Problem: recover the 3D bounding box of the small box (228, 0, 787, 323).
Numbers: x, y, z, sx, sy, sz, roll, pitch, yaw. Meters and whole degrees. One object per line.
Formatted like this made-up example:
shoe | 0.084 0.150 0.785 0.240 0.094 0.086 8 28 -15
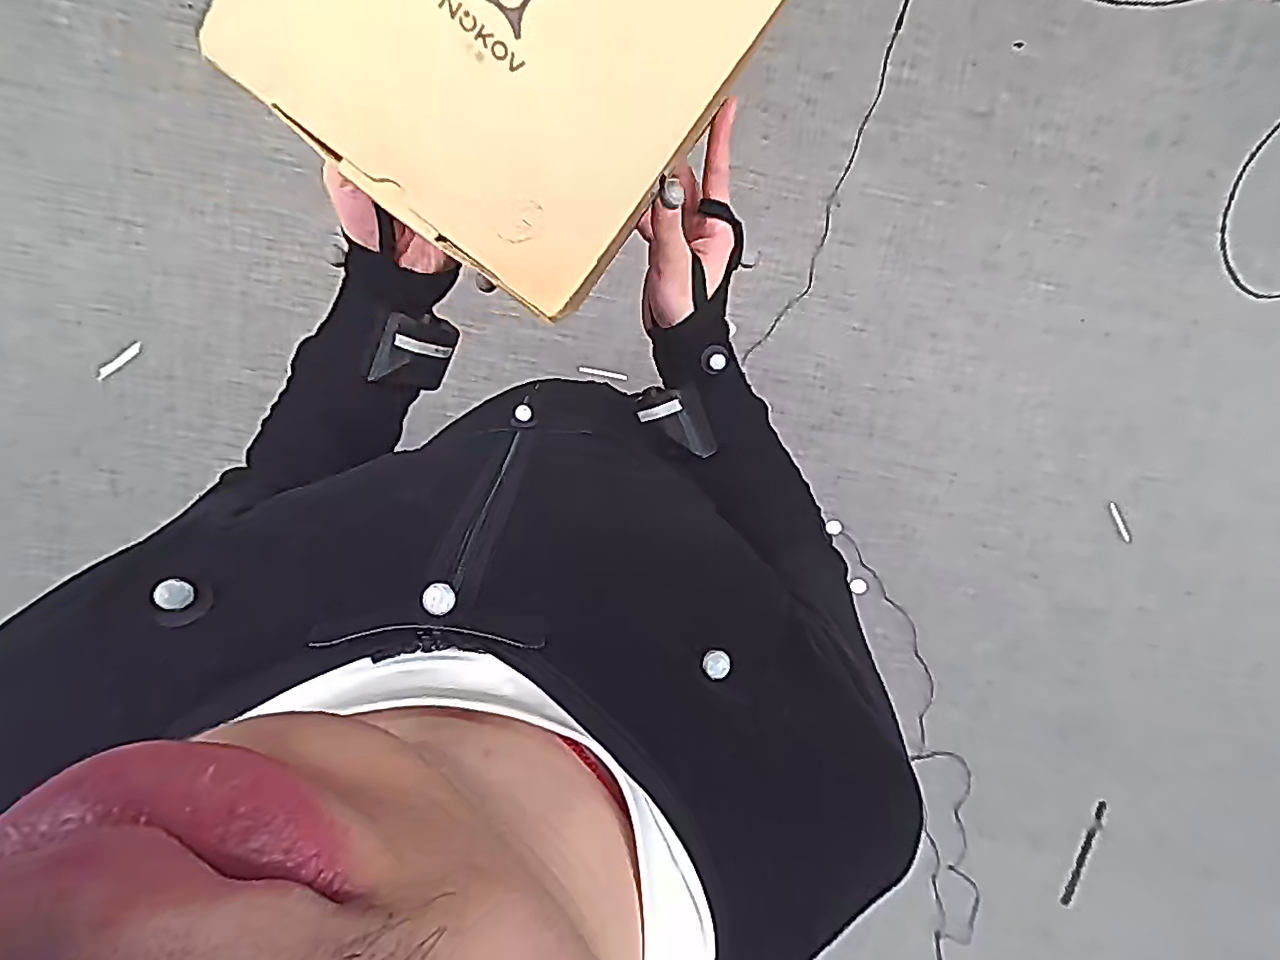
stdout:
small box | -0.056 -0.209 0.292 0.168 0.176 0.179 35 103 -15
